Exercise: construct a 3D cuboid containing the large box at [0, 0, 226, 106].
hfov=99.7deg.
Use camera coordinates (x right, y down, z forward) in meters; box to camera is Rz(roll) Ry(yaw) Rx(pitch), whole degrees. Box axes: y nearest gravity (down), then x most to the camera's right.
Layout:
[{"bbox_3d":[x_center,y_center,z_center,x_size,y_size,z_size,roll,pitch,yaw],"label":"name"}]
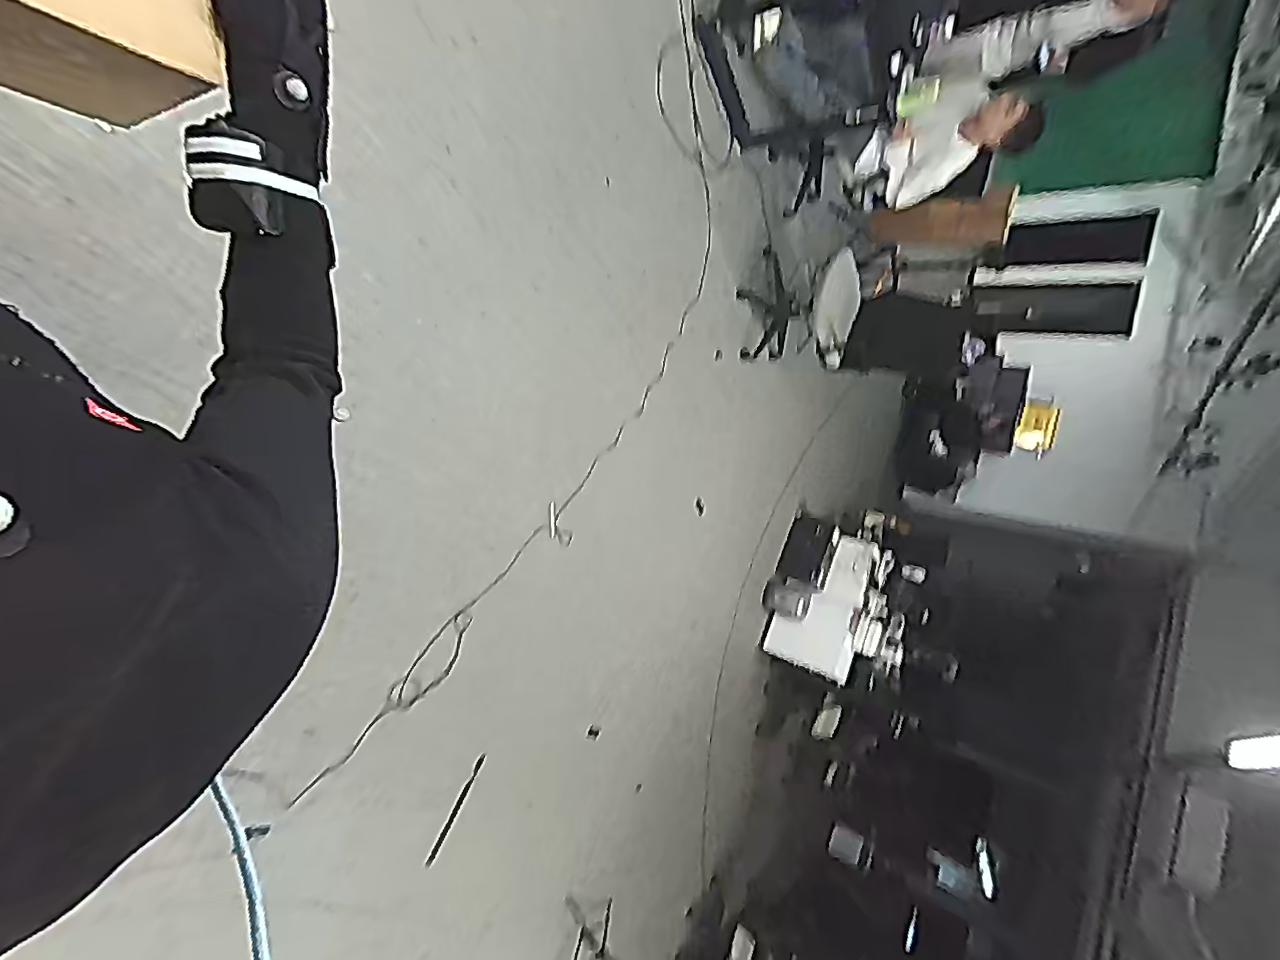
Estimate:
[{"bbox_3d":[-0.502,-0.463,0.273,0.408,0.320,0.320,-6,112,-53],"label":"large box"}]
